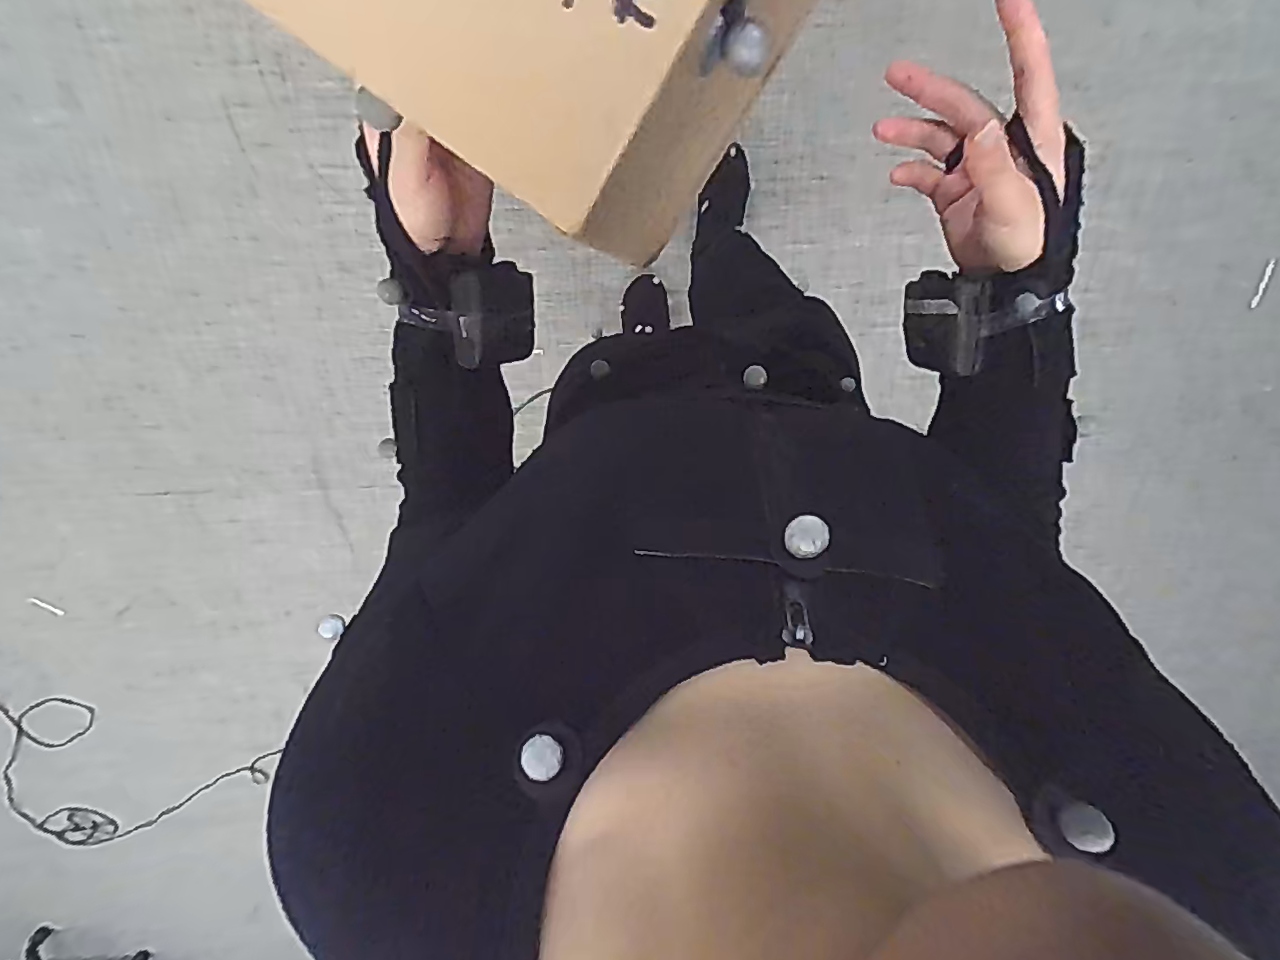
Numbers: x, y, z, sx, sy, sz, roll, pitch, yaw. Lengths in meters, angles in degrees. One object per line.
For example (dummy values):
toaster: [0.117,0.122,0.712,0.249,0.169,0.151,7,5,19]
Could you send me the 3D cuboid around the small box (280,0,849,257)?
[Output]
small box: [-0.022,-0.201,0.196,0.179,0.176,0.168,35,110,-4]
